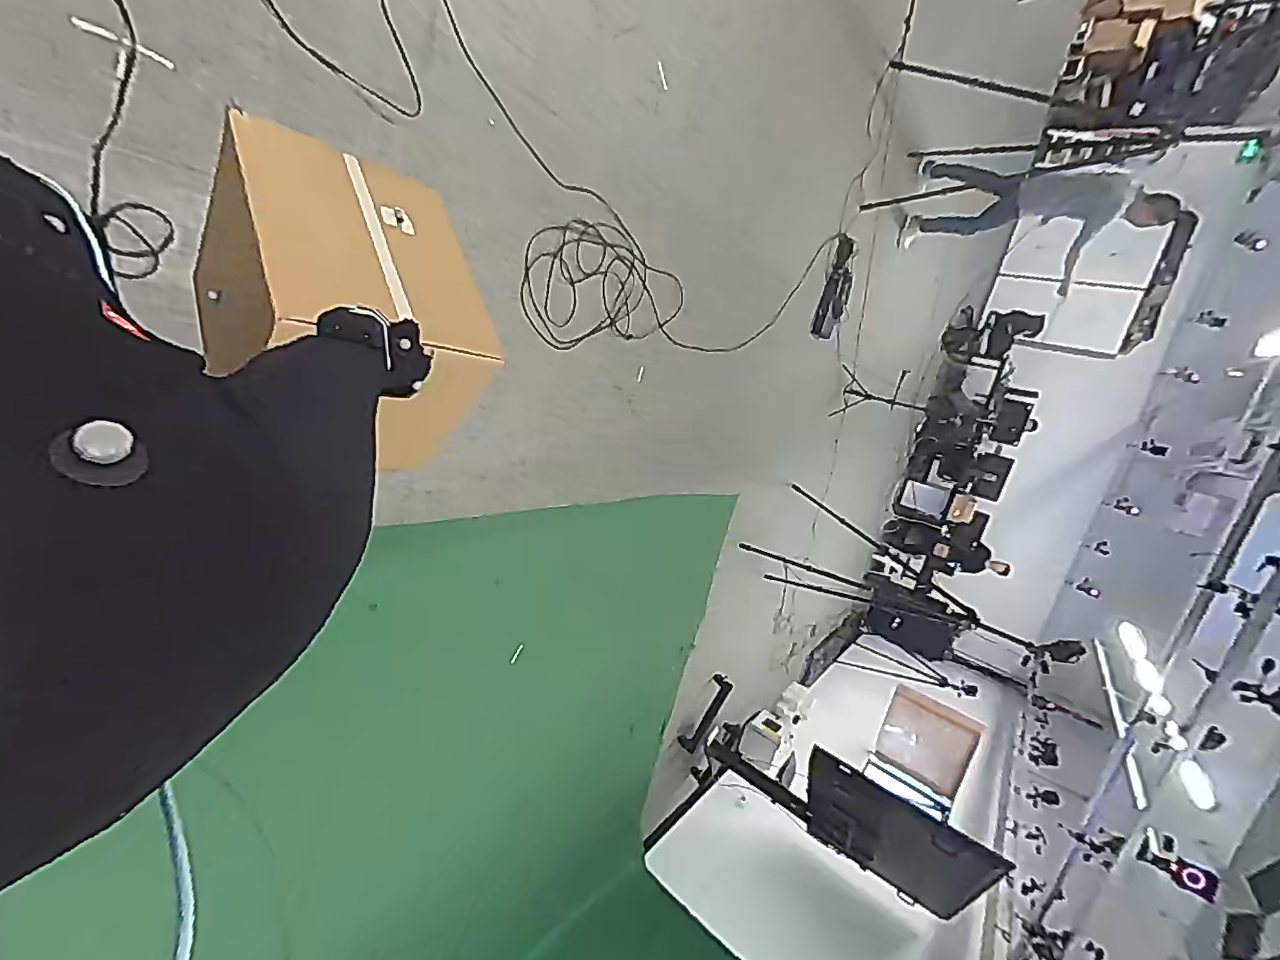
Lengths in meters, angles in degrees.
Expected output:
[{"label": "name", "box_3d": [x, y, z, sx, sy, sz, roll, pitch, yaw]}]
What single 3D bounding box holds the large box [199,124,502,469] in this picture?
[{"label": "large box", "box_3d": [-0.493, -0.265, 0.897, 0.320, 0.408, 0.320, 0, 146, -49]}]
